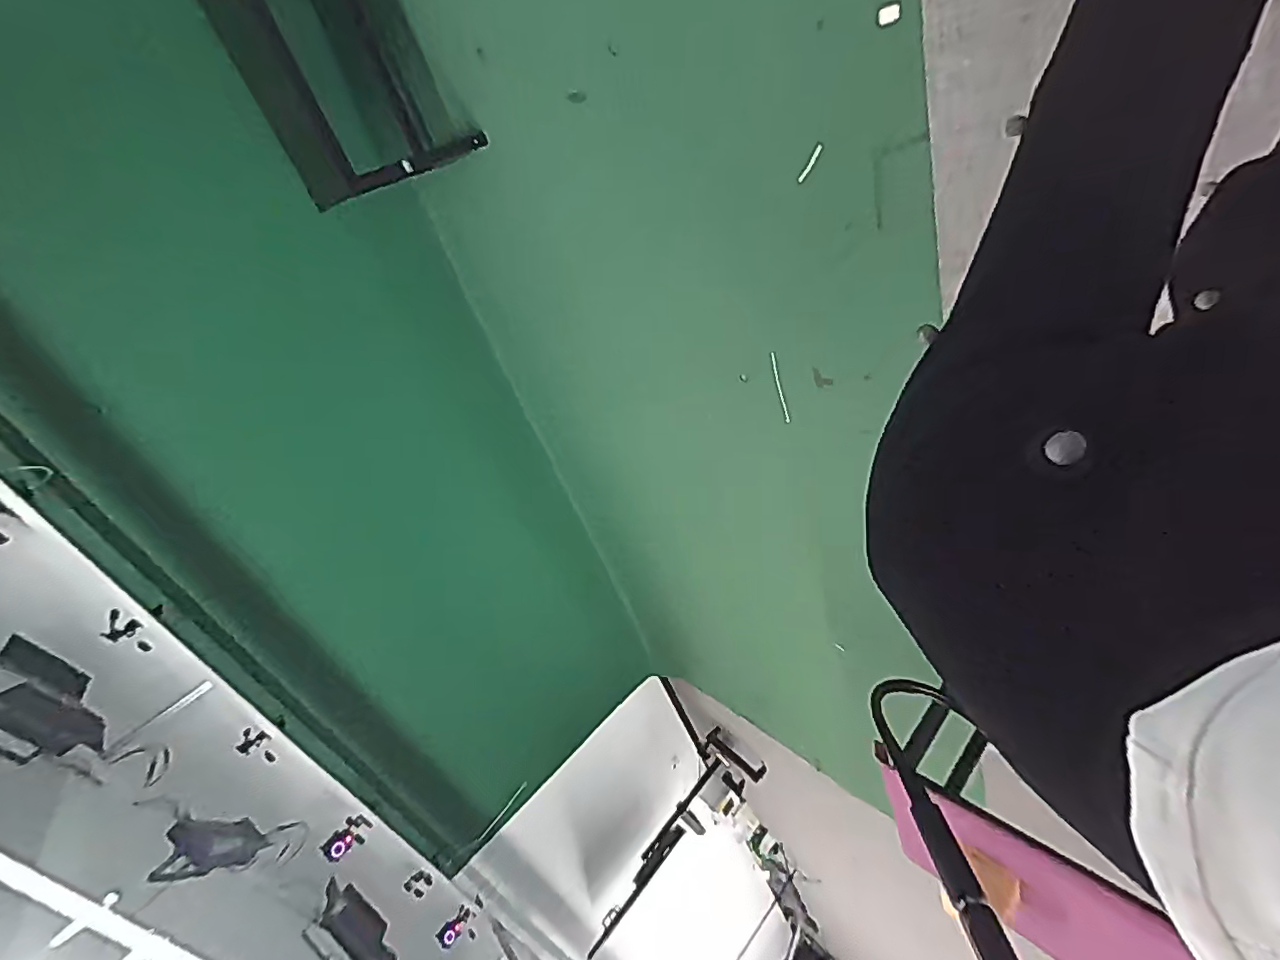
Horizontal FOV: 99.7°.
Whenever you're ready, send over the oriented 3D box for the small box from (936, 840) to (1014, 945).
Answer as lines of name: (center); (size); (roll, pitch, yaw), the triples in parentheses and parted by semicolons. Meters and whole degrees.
small box: (1.061, 1.297, 1.708); (0.168, 0.176, 0.179); (16, 137, 47)
